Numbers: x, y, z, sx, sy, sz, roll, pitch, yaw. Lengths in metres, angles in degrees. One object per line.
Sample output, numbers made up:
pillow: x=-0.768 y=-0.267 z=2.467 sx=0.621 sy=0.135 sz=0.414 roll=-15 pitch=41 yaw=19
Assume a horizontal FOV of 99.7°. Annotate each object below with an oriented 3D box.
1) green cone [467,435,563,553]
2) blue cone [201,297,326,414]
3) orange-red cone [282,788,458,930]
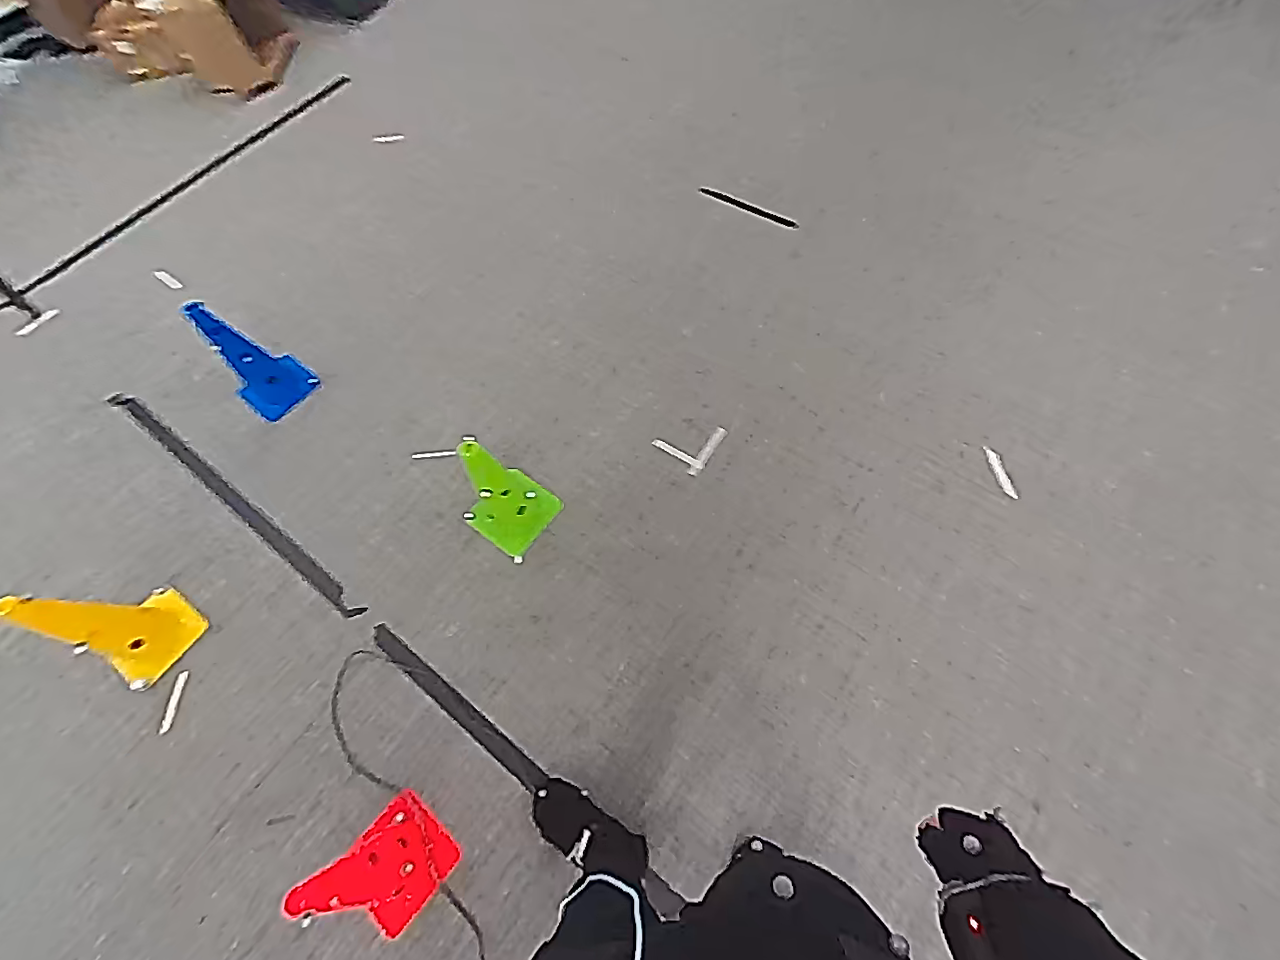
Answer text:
green cone: x=-0.348 y=0.004 z=1.332 sx=0.200 sy=0.368 sz=0.202 roll=33 pitch=69 yaw=18
blue cone: x=-1.141 y=-0.382 z=1.593 sx=0.193 sy=0.380 sz=0.192 roll=37 pitch=71 yaw=19
orange-red cone: x=-0.525 y=0.724 z=0.996 sx=0.198 sy=0.360 sz=0.199 roll=37 pitch=73 yaw=21
